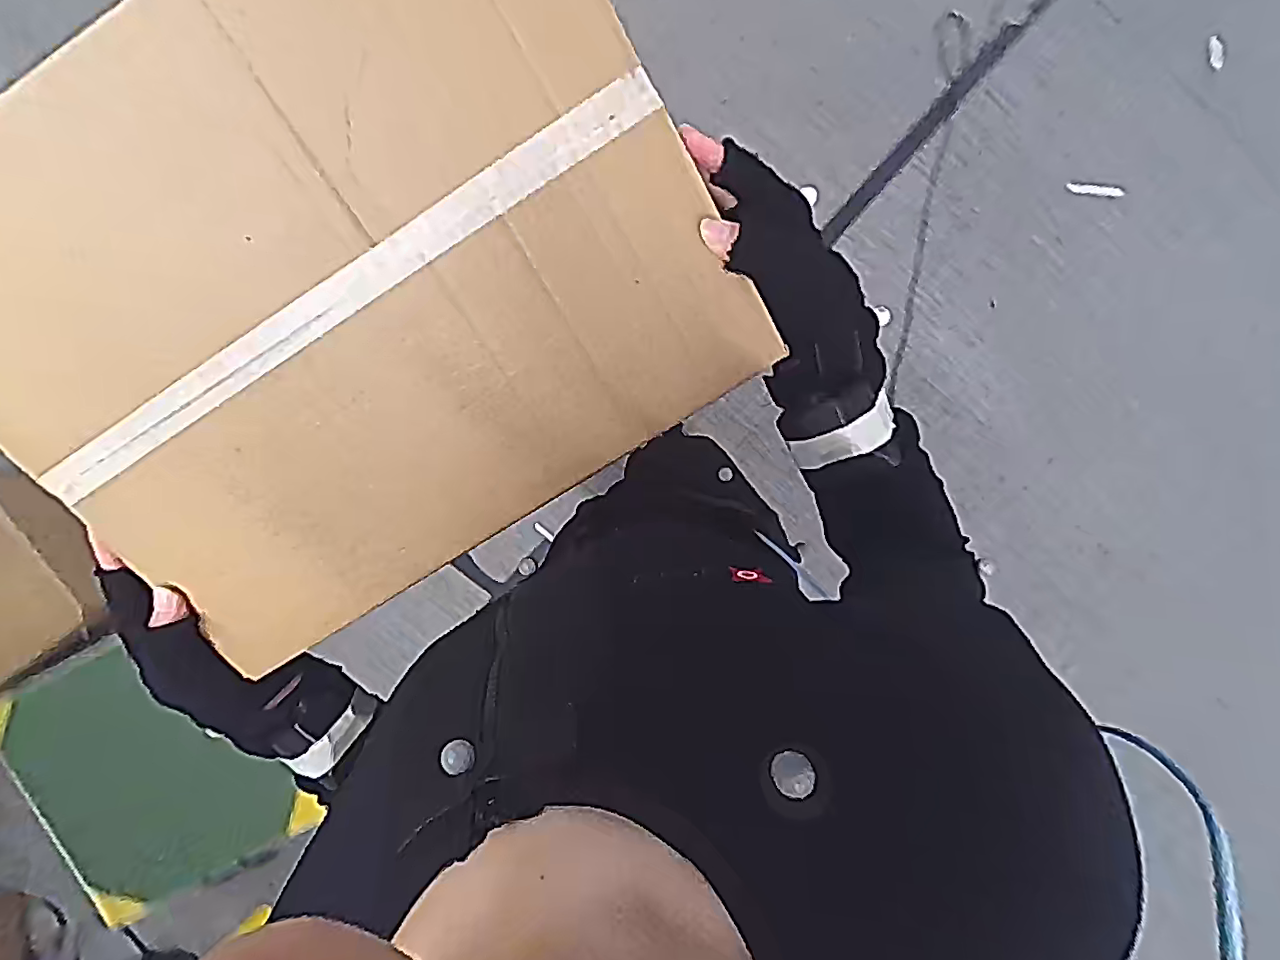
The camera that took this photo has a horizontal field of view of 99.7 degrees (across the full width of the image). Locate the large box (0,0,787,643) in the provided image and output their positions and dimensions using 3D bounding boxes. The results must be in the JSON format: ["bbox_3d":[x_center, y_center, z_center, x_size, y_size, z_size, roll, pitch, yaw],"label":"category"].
[{"bbox_3d":[-0.162,-0.150,0.452,0.408,0.320,0.320,-30,107,5],"label":"large box"}]
